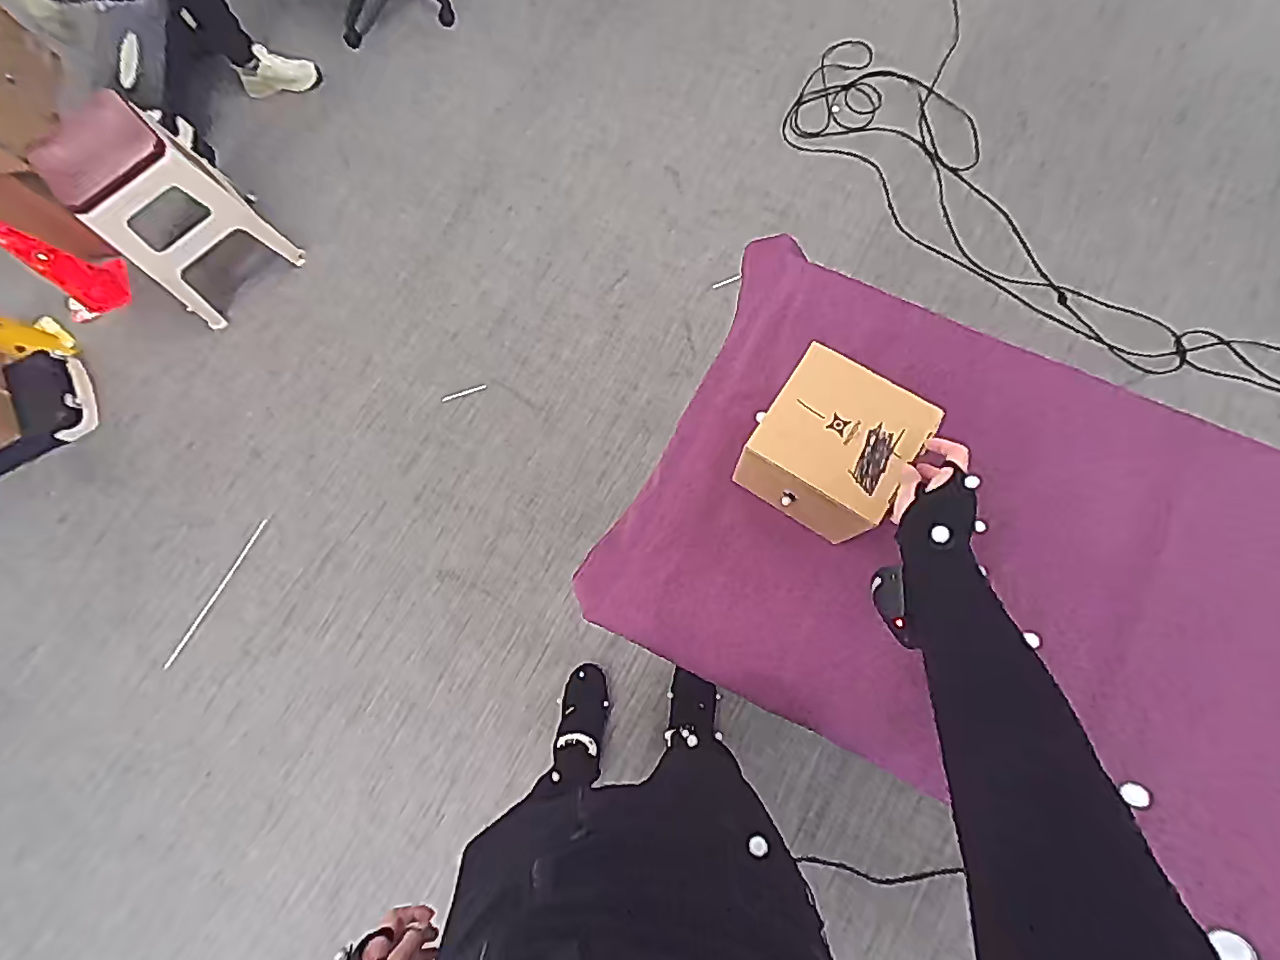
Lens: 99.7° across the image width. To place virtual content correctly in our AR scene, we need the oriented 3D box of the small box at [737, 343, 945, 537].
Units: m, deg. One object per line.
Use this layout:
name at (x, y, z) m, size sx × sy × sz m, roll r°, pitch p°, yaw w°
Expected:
small box at (0.246, -0.039, 0.709) m, size 0.179 × 0.176 × 0.168 m, roll 33°, pitch 80°, yaw 12°
